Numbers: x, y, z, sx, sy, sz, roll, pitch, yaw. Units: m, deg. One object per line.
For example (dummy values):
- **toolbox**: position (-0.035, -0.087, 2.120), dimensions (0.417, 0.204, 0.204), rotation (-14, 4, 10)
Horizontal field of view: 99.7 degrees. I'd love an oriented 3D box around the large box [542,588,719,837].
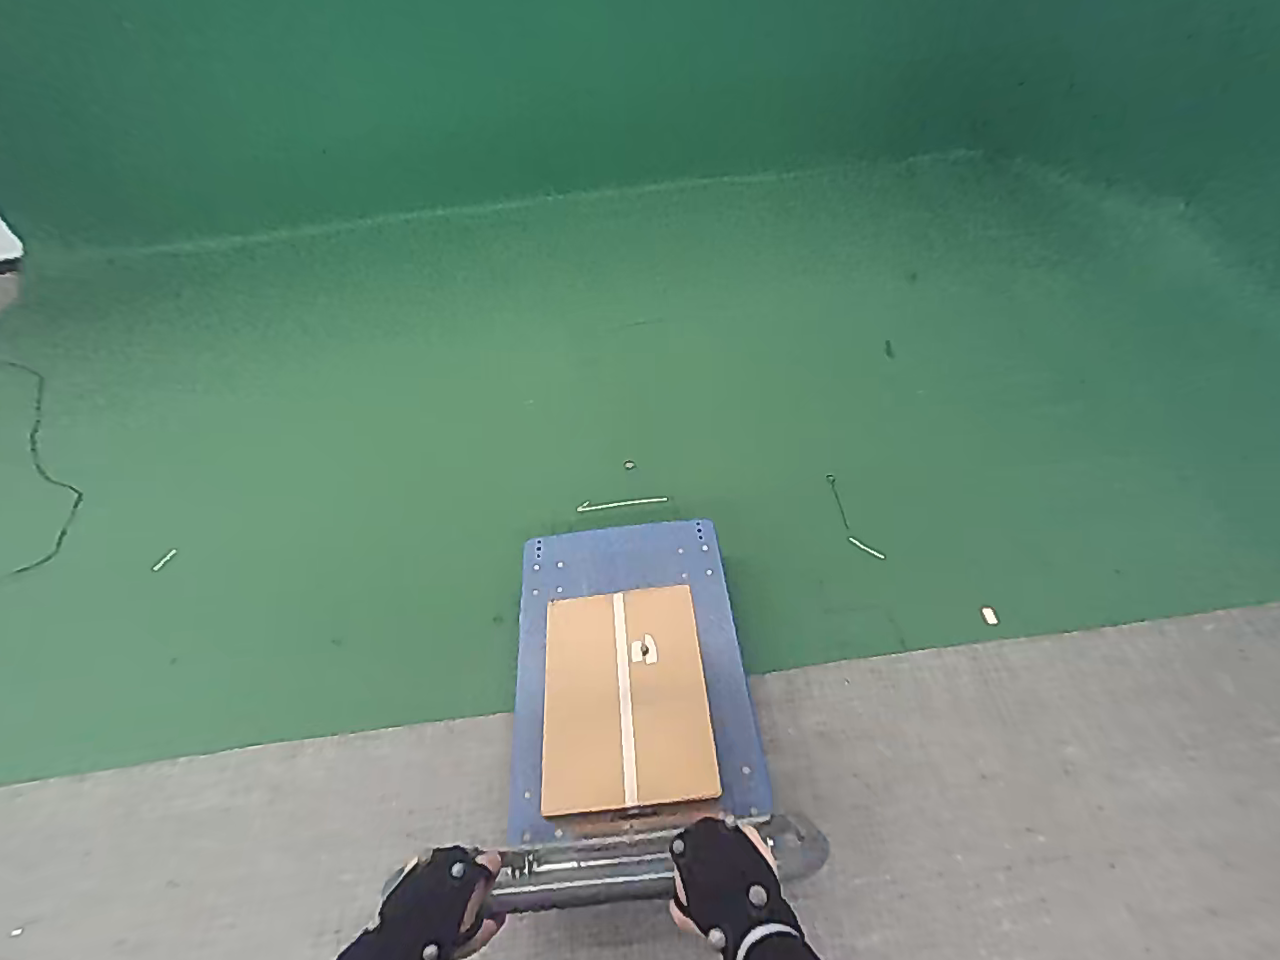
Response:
- **large box**: position (-0.018, 0.498, 1.161), dimensions (0.320, 0.320, 0.408), rotation (-6, 50, 1)
